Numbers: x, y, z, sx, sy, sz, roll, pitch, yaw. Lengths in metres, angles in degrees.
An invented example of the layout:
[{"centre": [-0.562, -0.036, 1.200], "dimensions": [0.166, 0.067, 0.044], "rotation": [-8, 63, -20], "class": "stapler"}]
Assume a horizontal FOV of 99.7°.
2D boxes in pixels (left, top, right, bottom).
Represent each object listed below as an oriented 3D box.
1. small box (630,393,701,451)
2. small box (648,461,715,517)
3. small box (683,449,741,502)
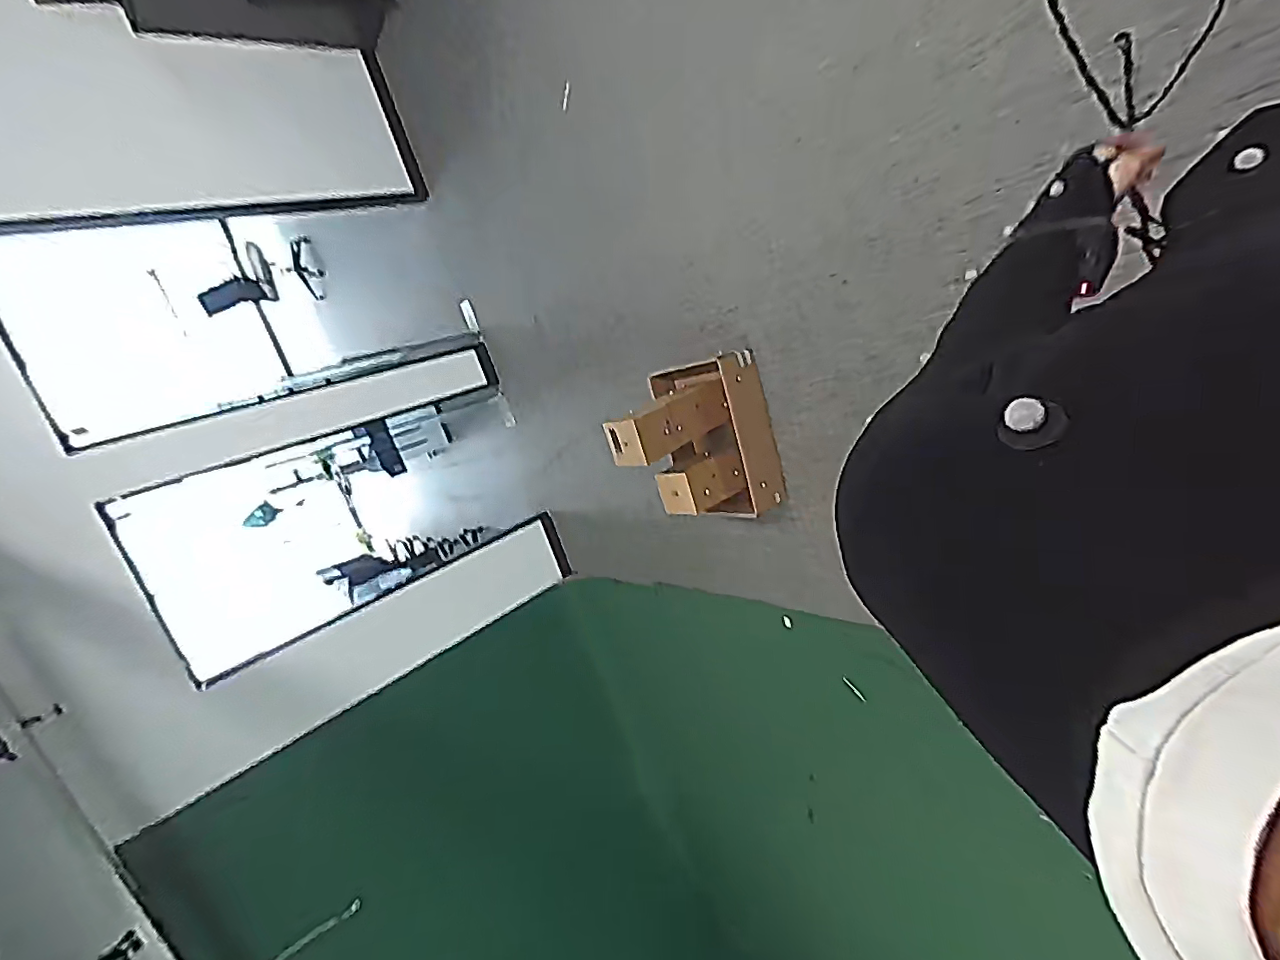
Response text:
[{"centre": [0.096, -0.215, 2.007], "dimensions": [0.179, 0.176, 0.168], "rotation": [0, 113, 51], "class": "small box"}, {"centre": [0.167, 0.032, 2.068], "dimensions": [0.179, 0.176, 0.168], "rotation": [-2, 110, 51], "class": "small box"}, {"centre": [0.284, -0.021, 2.166], "dimensions": [0.179, 0.176, 0.168], "rotation": [0, 110, 50], "class": "small box"}]
